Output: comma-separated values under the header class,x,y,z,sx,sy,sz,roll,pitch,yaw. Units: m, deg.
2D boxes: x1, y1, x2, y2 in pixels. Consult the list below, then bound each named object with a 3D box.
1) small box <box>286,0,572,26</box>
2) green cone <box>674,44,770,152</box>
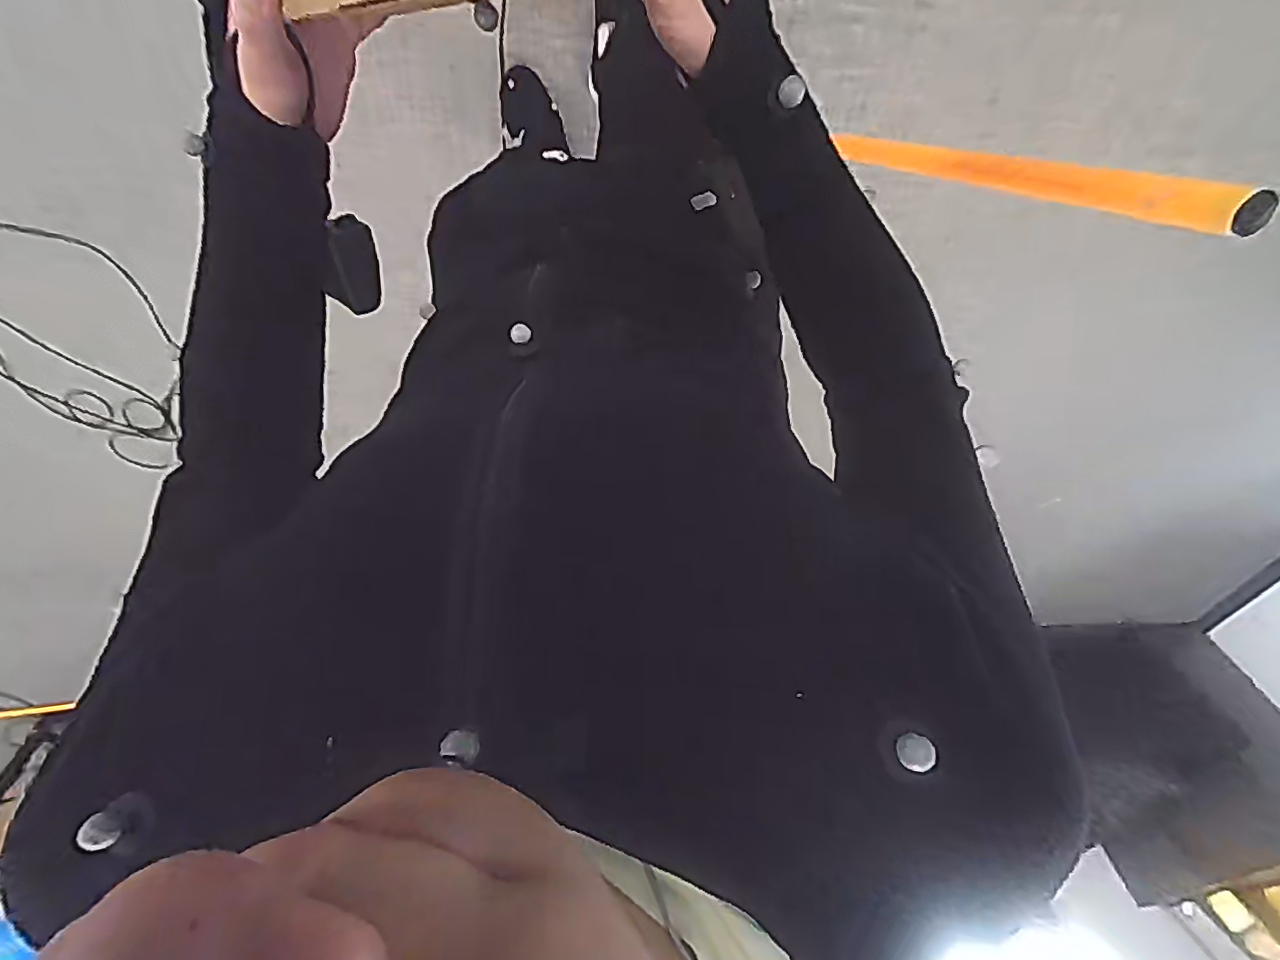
class,x,y,z,sx,sy,sz,roll,pitch,yaw
small box,-0.103,-0.352,0.272,0.168,0.176,0.179,-7,132,3
green cone,0.192,-0.745,1.104,0.202,0.368,0.200,0,133,-4
